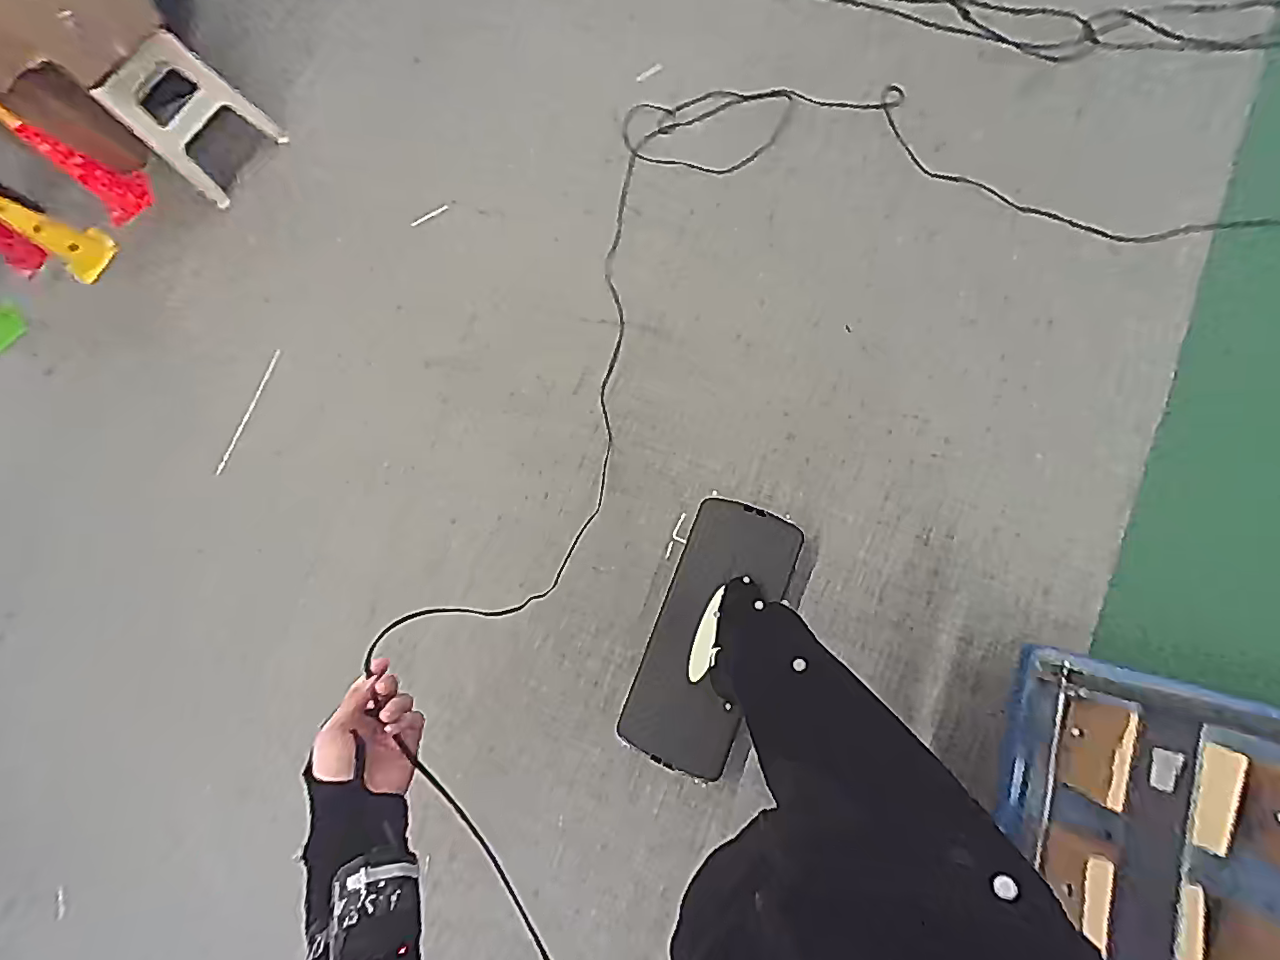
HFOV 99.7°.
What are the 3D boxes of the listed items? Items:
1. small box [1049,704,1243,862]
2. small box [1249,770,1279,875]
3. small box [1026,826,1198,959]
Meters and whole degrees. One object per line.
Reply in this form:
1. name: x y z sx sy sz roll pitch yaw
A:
1. small box: 0.894 0.526 0.973 0.179 0.176 0.168 21 83 16
2. small box: 1.179 0.603 0.897 0.179 0.176 0.168 5 80 12
3. small box: 0.806 0.744 0.941 0.168 0.176 0.179 11 80 14
